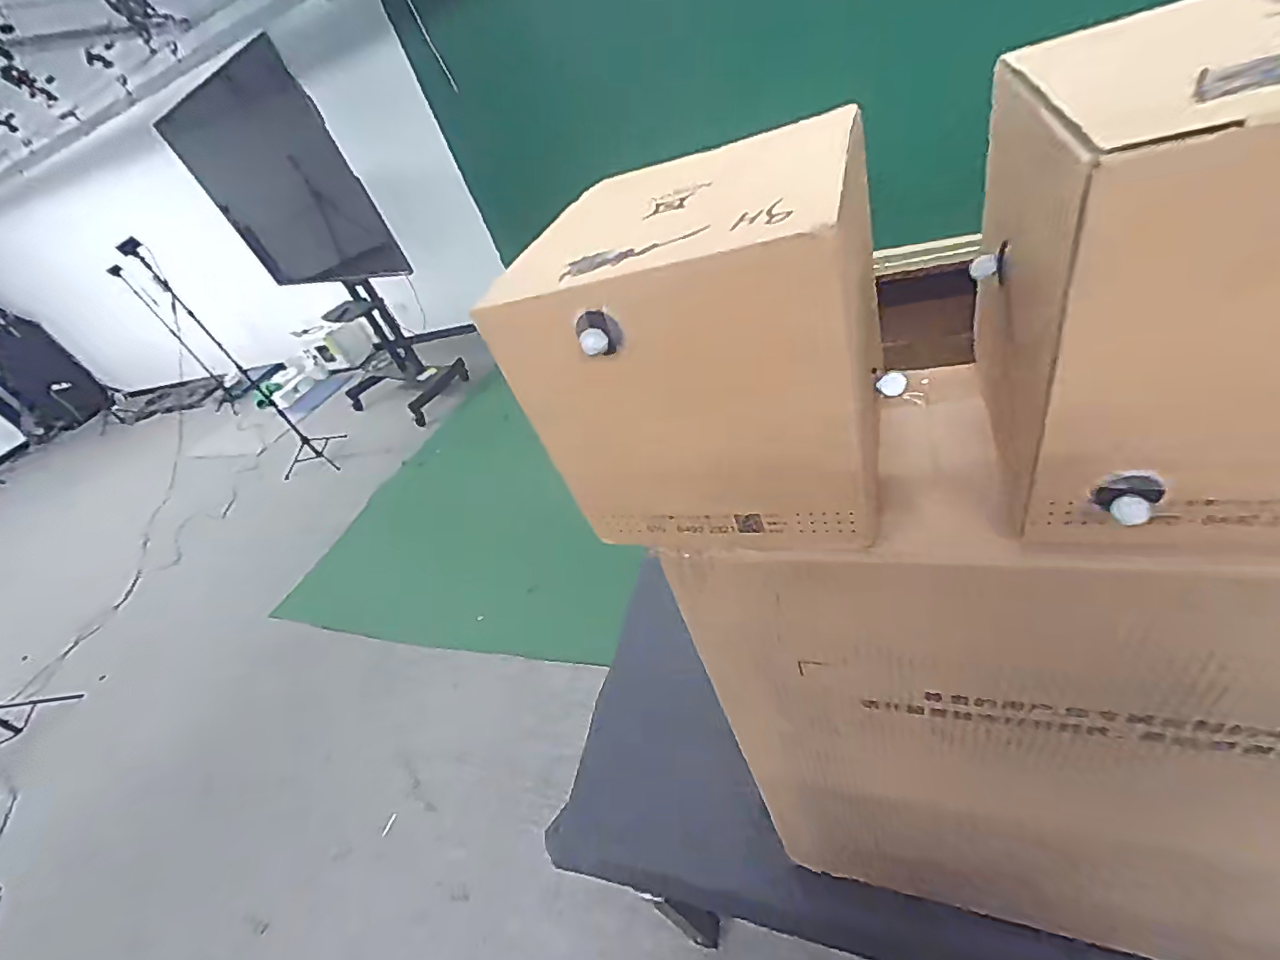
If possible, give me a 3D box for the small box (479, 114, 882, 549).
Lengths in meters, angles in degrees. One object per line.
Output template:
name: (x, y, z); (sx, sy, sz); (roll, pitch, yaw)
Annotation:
small box: (0.047, -0.081, 0.323); (0.168, 0.176, 0.179); (-3, 41, 28)
